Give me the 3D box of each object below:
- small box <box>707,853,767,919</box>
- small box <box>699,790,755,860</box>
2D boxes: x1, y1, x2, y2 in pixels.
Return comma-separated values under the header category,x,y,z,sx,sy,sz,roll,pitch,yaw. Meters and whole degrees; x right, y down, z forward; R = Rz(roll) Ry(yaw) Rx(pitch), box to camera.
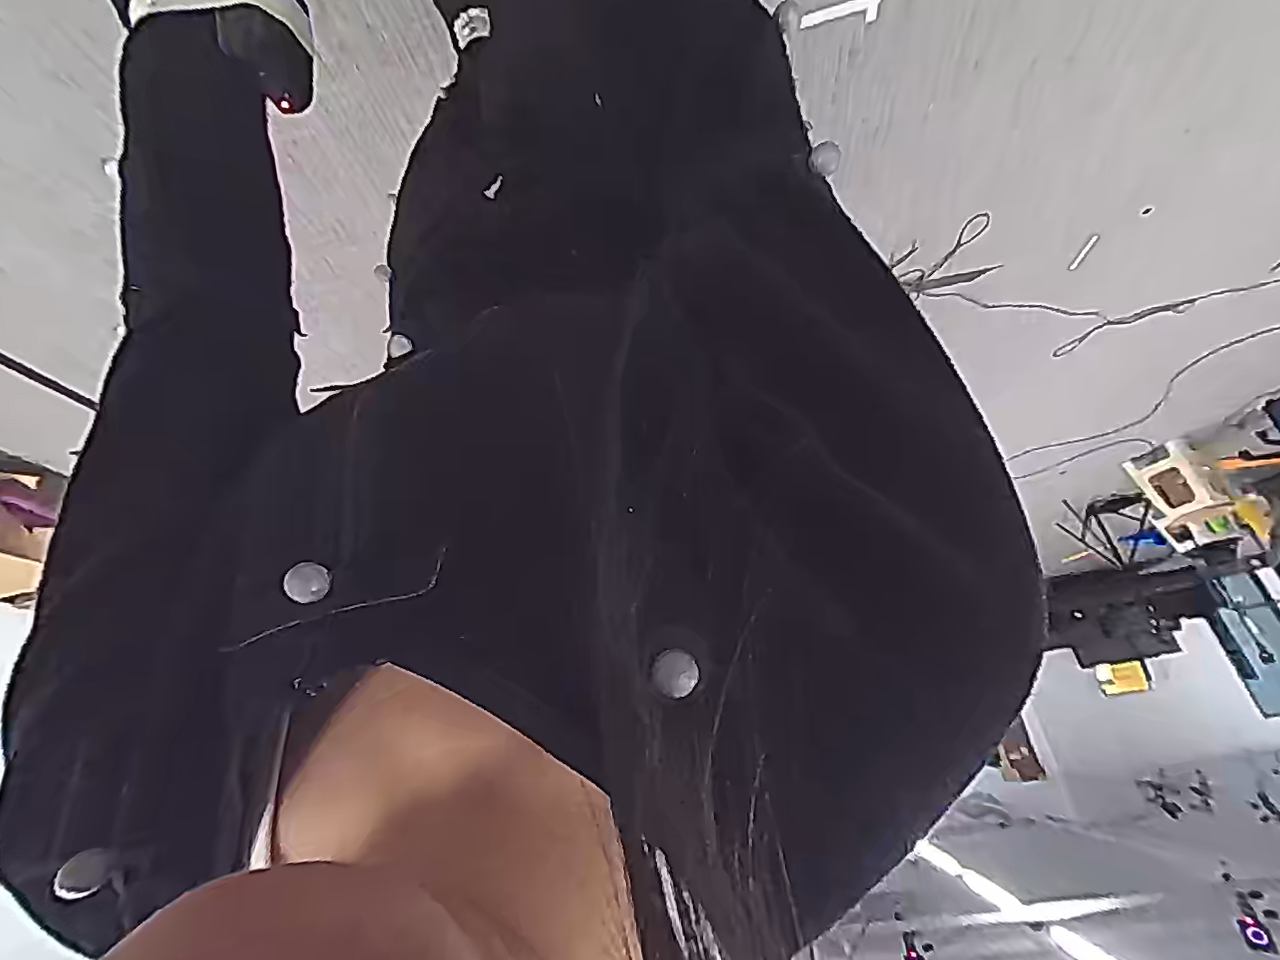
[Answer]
category,x,y,z,sx,sy,sz,roll,pitch,yaw
small box,0.325,1.359,1.845,0.168,0.176,0.179,-11,155,3
small box,0.304,1.212,1.909,0.168,0.176,0.179,-11,157,4
